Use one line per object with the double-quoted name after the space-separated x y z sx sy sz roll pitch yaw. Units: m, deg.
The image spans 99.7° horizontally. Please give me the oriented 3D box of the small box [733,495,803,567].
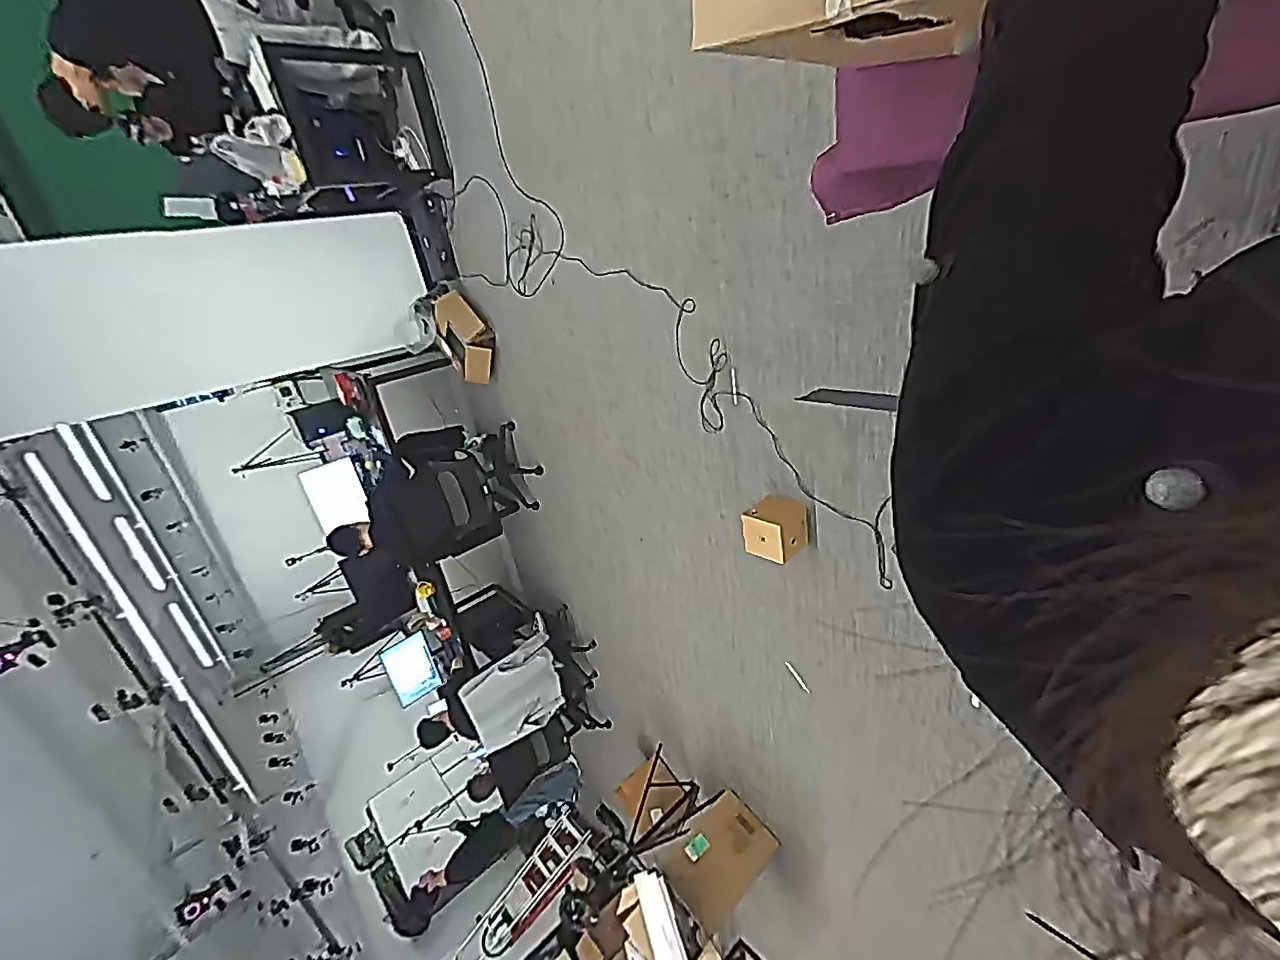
0.470 0.190 2.014 0.179 0.176 0.168 59 171 -27 "small box"
